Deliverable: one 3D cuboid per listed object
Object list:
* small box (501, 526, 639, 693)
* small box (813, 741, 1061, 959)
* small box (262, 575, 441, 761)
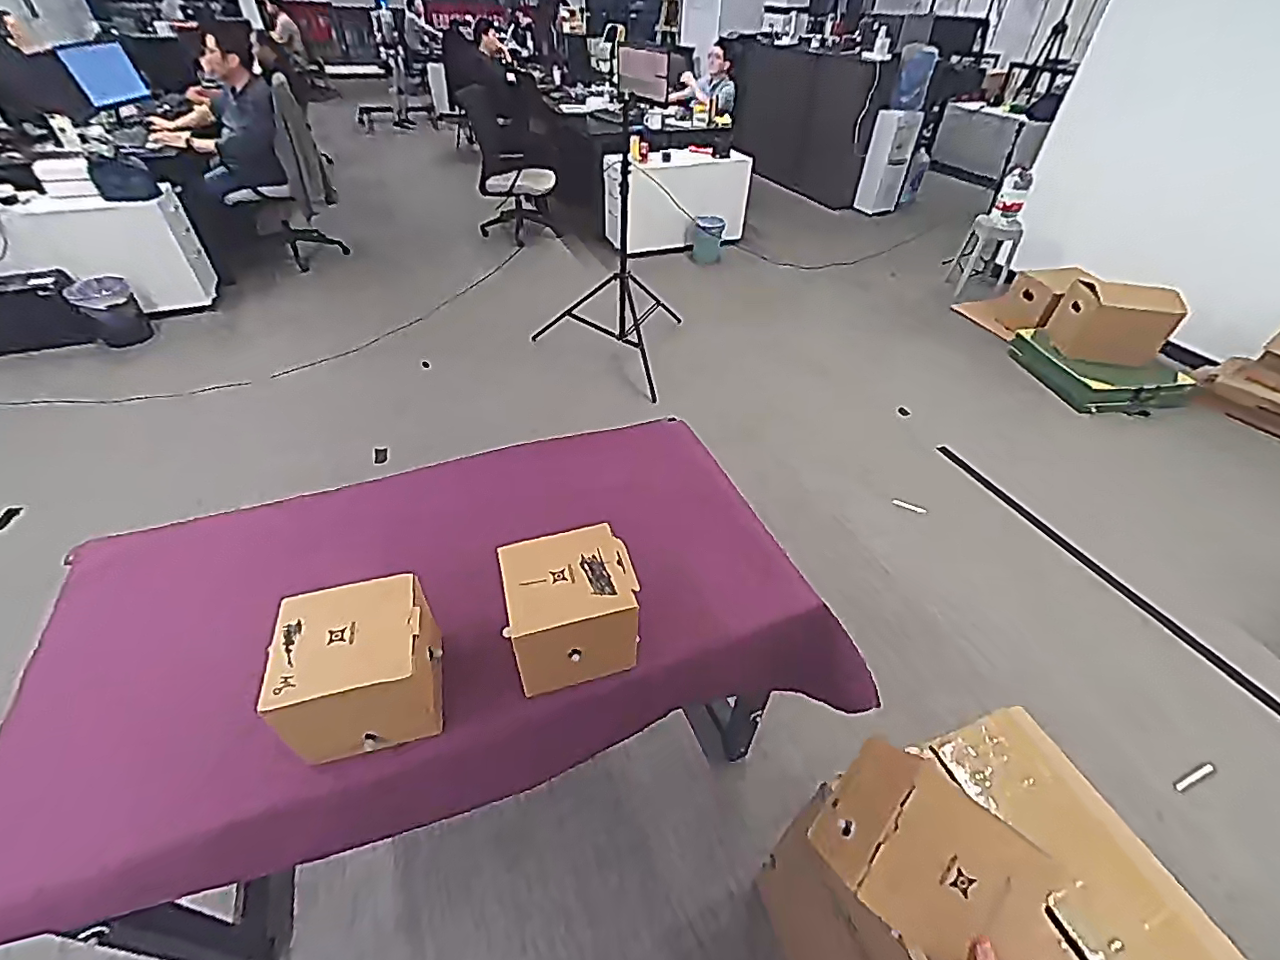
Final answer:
[{"bbox_3d":[-0.109,0.200,0.838,0.179,0.176,0.168,-11,43,-13],"label":"small box"},{"bbox_3d":[0.343,0.449,0.663,0.179,0.176,0.168,36,78,8],"label":"small box"},{"bbox_3d":[-0.382,0.262,0.758,0.179,0.176,0.168,-9,43,-13],"label":"small box"}]
